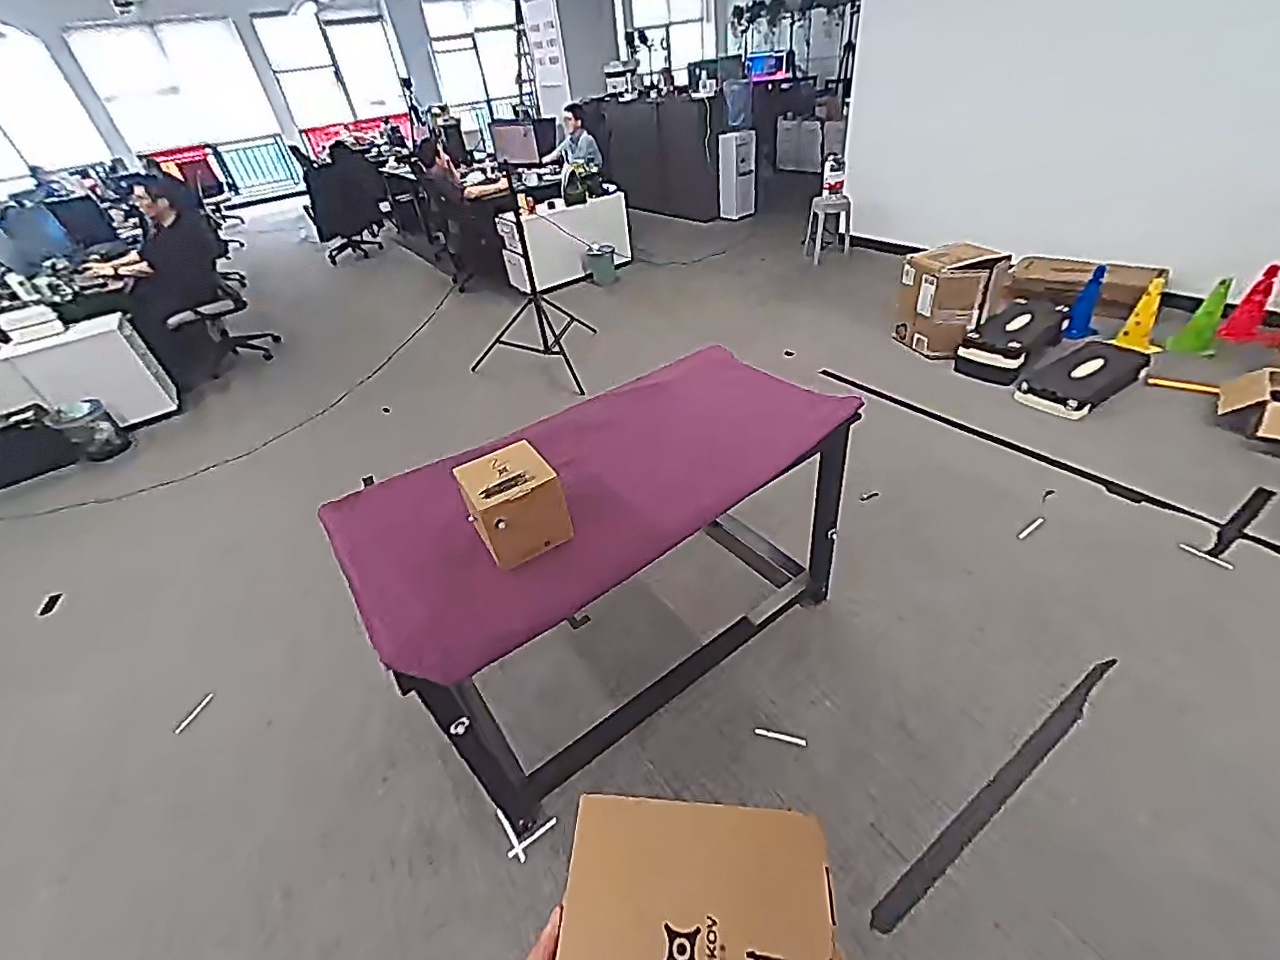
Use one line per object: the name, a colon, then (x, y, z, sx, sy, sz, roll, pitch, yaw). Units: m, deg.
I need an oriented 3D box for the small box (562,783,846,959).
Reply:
small box: (0.047, 0.341, 0.395, 0.179, 0.176, 0.168, 1, 47, 8)
